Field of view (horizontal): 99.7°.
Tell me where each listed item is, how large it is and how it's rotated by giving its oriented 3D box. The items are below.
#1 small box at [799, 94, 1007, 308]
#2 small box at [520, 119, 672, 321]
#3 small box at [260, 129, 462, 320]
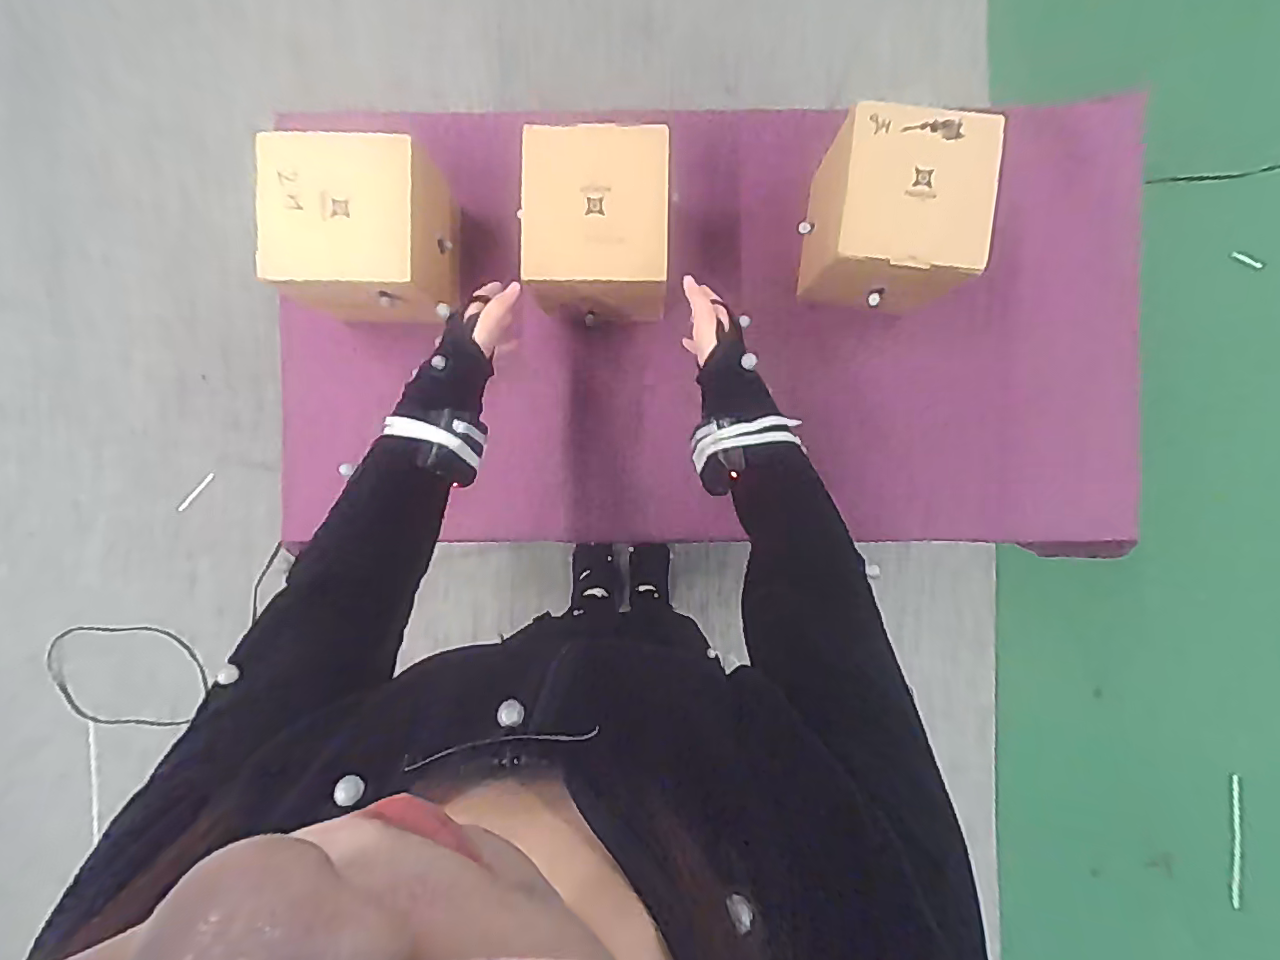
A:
[{"bbox_3d":[0.308,-0.328,0.671,0.168,0.176,0.179,8,92,0],"label":"small box"},{"bbox_3d":[-0.048,-0.314,0.681,0.168,0.176,0.179,1,91,2],"label":"small box"},{"bbox_3d":[-0.336,-0.309,0.685,0.179,0.176,0.168,2,90,1],"label":"small box"}]
